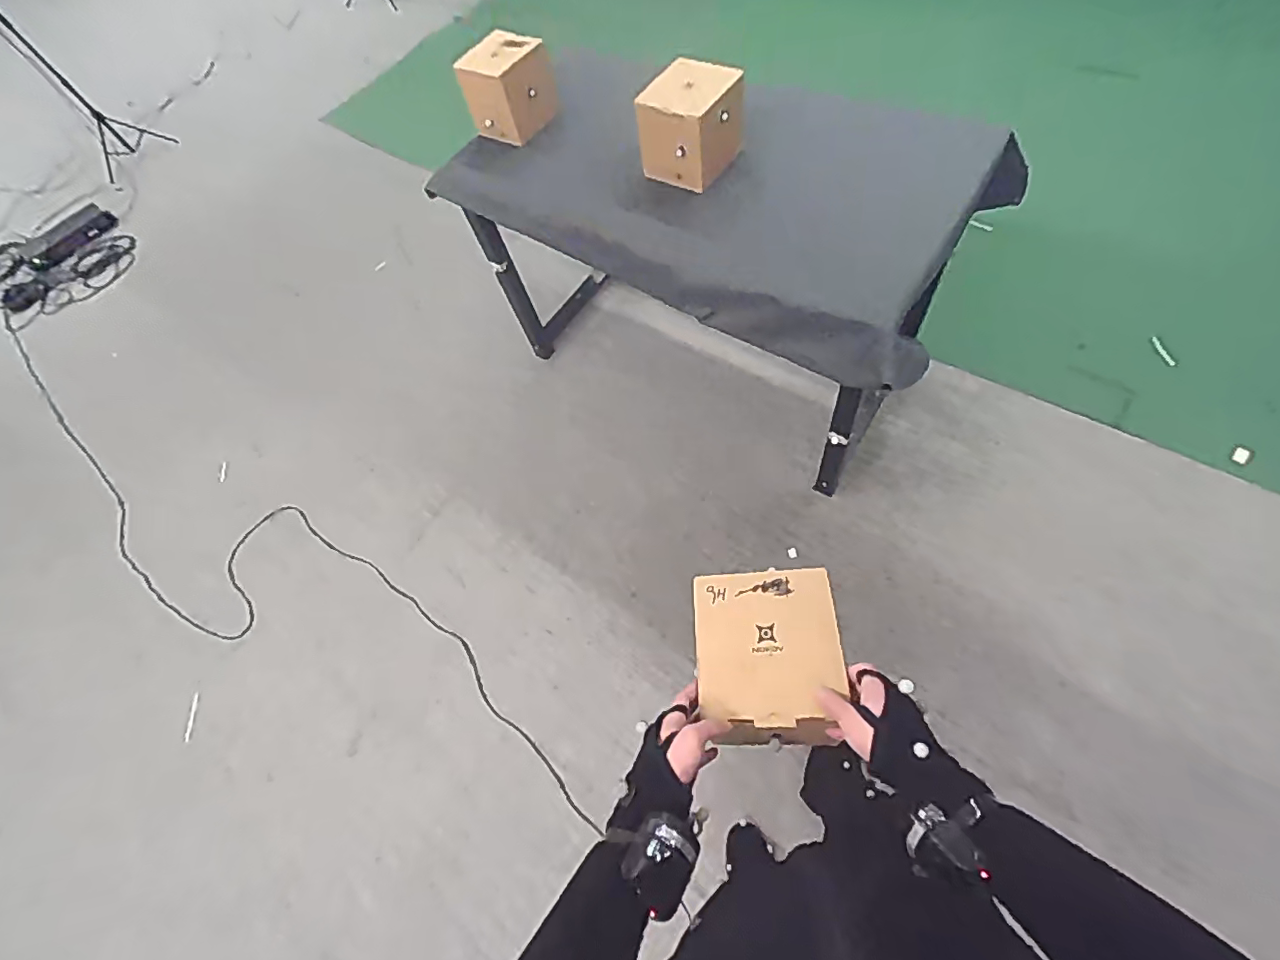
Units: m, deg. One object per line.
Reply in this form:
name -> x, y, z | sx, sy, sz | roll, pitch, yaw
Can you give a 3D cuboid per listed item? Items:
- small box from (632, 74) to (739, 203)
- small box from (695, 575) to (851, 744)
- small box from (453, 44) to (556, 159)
small box -> 0.108, -0.756, 1.205 | 0.168, 0.176, 0.179 | 30, 70, 22
small box -> 0.166, 0.241, 0.701 | 0.168, 0.176, 0.179 | -6, 56, 10
small box -> -0.338, -0.975, 1.397 | 0.168, 0.176, 0.179 | 29, 71, 22
